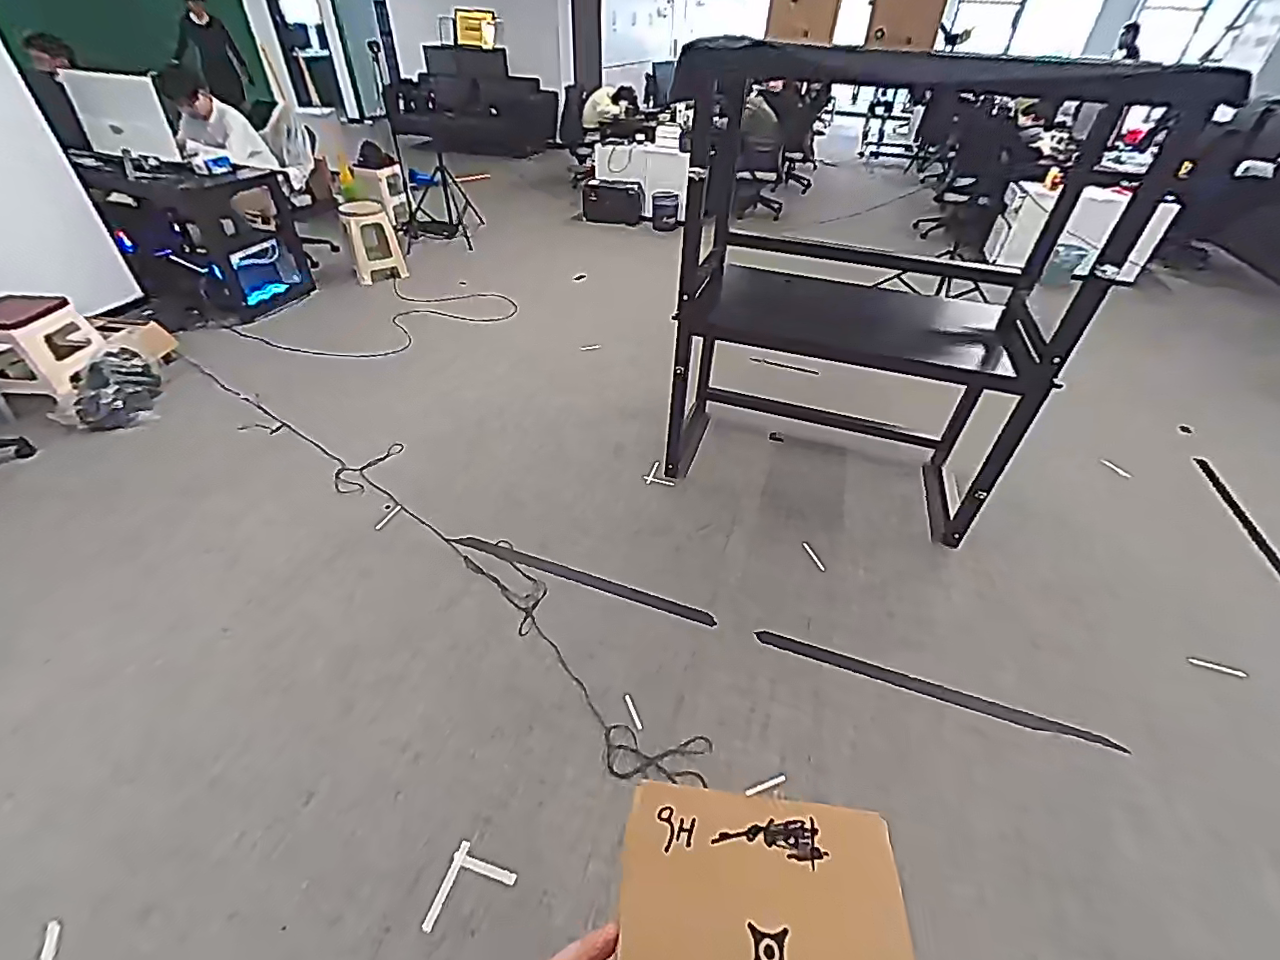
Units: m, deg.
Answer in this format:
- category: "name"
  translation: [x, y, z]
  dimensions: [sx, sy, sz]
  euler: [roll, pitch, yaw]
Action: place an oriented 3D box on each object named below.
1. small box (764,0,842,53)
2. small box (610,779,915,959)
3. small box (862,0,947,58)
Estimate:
- category: "small box"
  translation: [0.418, -1.190, 1.367]
  dimensions: [0.168, 0.176, 0.179]
  euler: [15, 39, 12]
- category: "small box"
  translation: [0.064, 0.323, 0.345]
  dimensions: [0.168, 0.176, 0.179]
  euler: [7, 43, 2]
- category: "small box"
  translation: [0.655, -1.149, 1.330]
  dimensions: [0.168, 0.176, 0.179]
  euler: [15, 39, 14]
